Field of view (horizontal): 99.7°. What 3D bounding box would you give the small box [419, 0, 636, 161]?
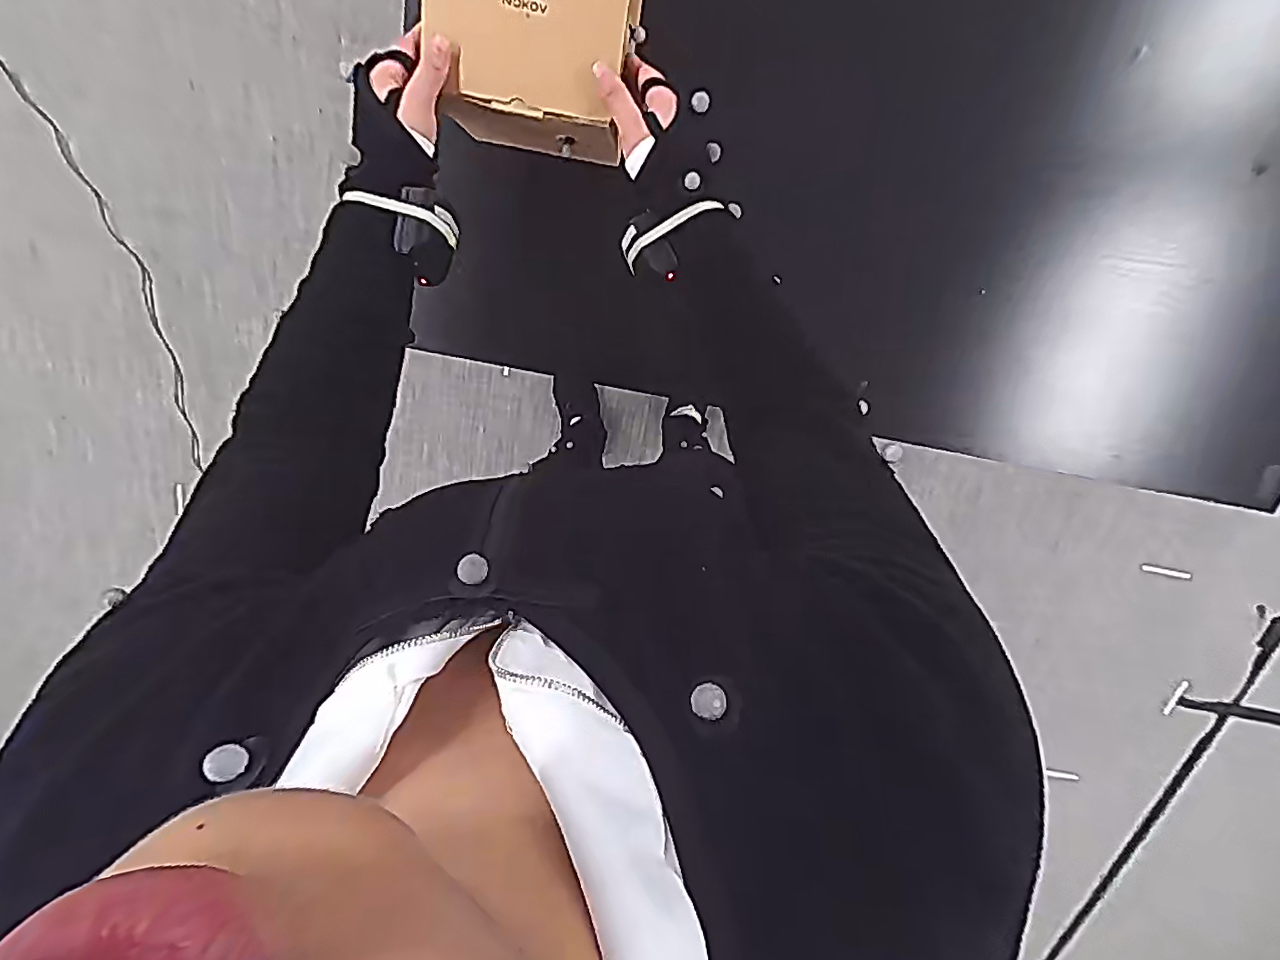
[{"bbox_3d":[-0.094,-0.424,0.510,0.168,0.176,0.179,8,109,-4],"label":"small box"}]
